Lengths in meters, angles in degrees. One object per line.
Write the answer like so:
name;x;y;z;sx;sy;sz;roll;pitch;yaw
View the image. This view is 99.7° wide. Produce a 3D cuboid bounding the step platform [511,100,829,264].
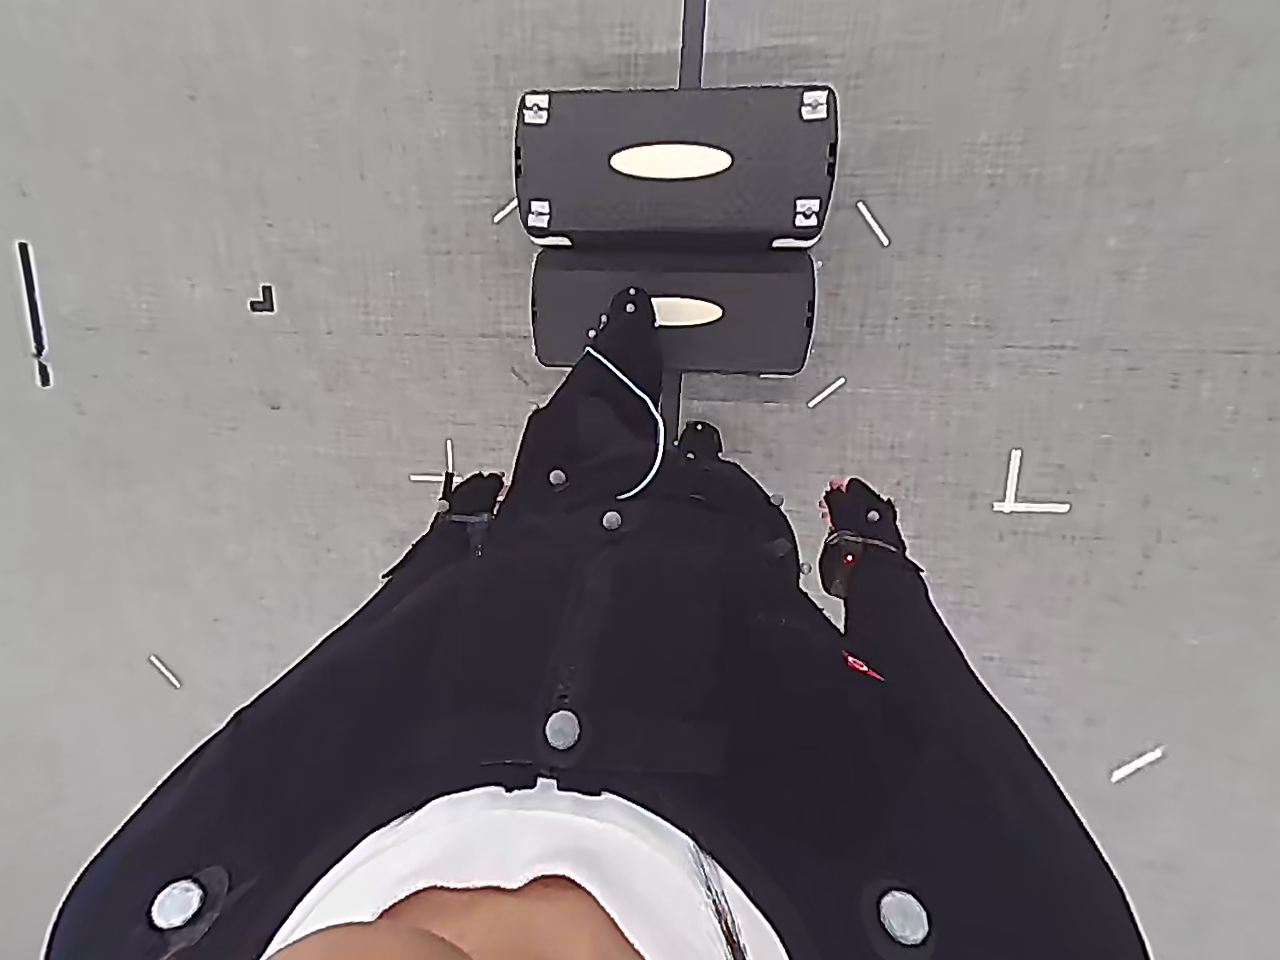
step platform;0.061;-0.650;1.206;0.684;0.204;0.286;2;103;6
